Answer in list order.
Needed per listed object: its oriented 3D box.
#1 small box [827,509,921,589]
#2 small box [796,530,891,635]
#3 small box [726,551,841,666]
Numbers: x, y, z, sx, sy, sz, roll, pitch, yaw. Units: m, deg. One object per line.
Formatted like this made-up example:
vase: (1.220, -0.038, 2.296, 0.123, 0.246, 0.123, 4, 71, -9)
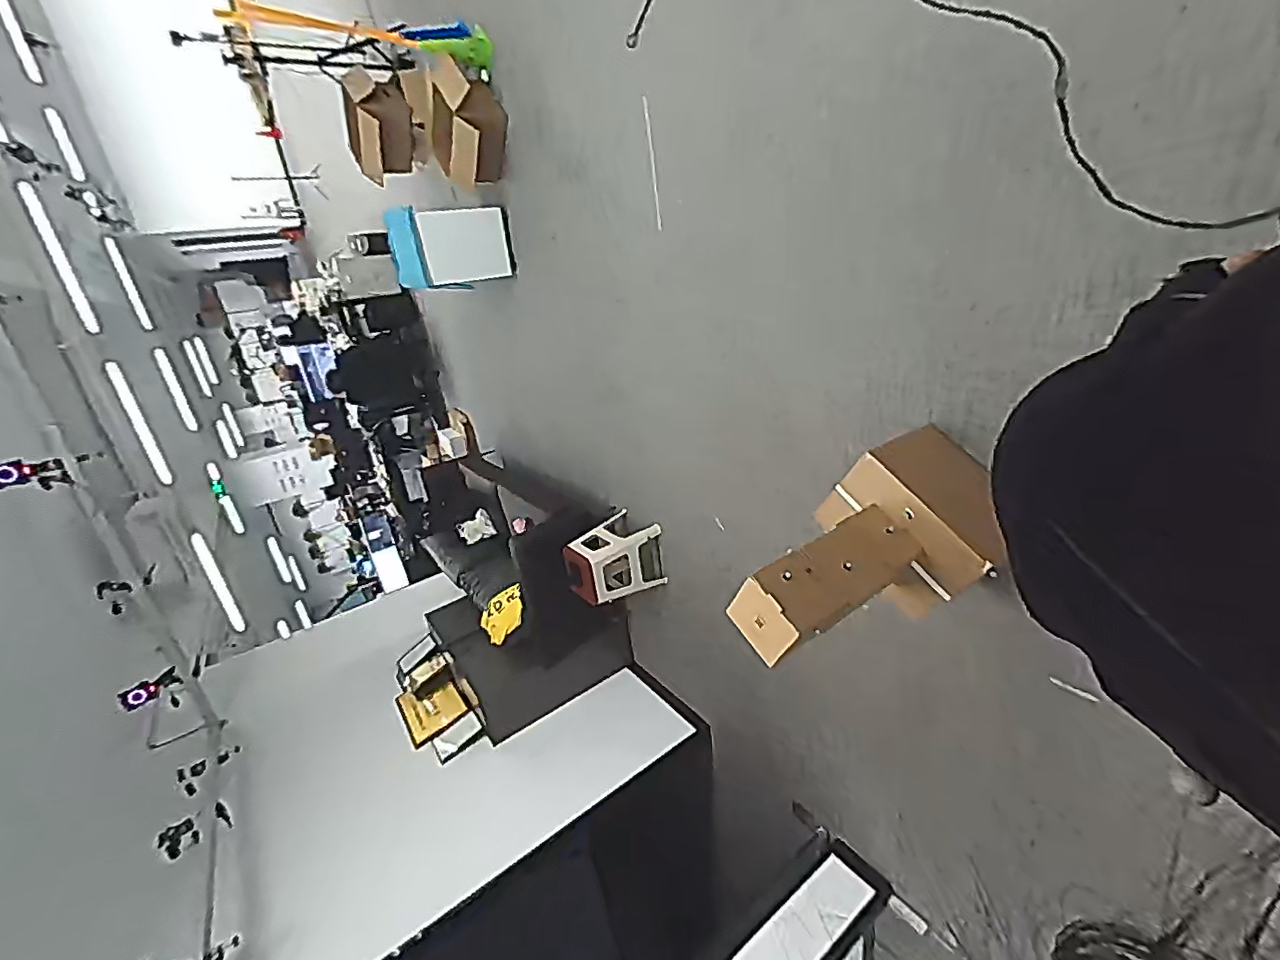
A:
small box: (0.594, 0.196, 1.430, 0.179, 0.176, 0.168, 51, 146, 30)
small box: (0.469, 0.243, 1.331, 0.179, 0.176, 0.168, 52, 146, 26)
small box: (0.334, 0.293, 1.255, 0.168, 0.176, 0.179, 51, 146, 28)
